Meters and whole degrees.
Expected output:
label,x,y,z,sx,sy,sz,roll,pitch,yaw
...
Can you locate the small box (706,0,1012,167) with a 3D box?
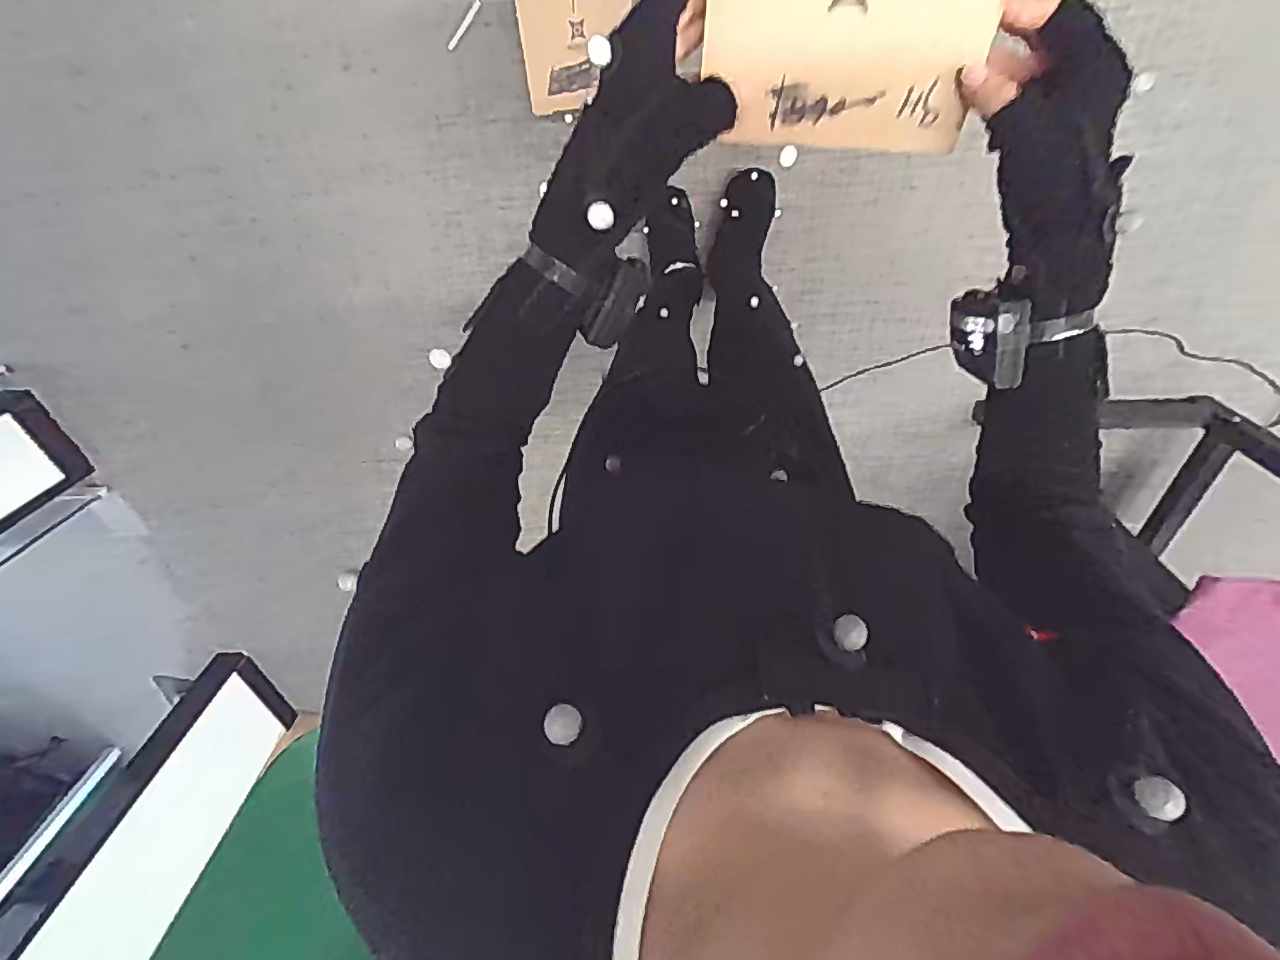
label,x,y,z,sx,sy,sz,roll,pitch,yaw
small box,0.140,-0.331,0.367,0.168,0.176,0.179,8,130,6
